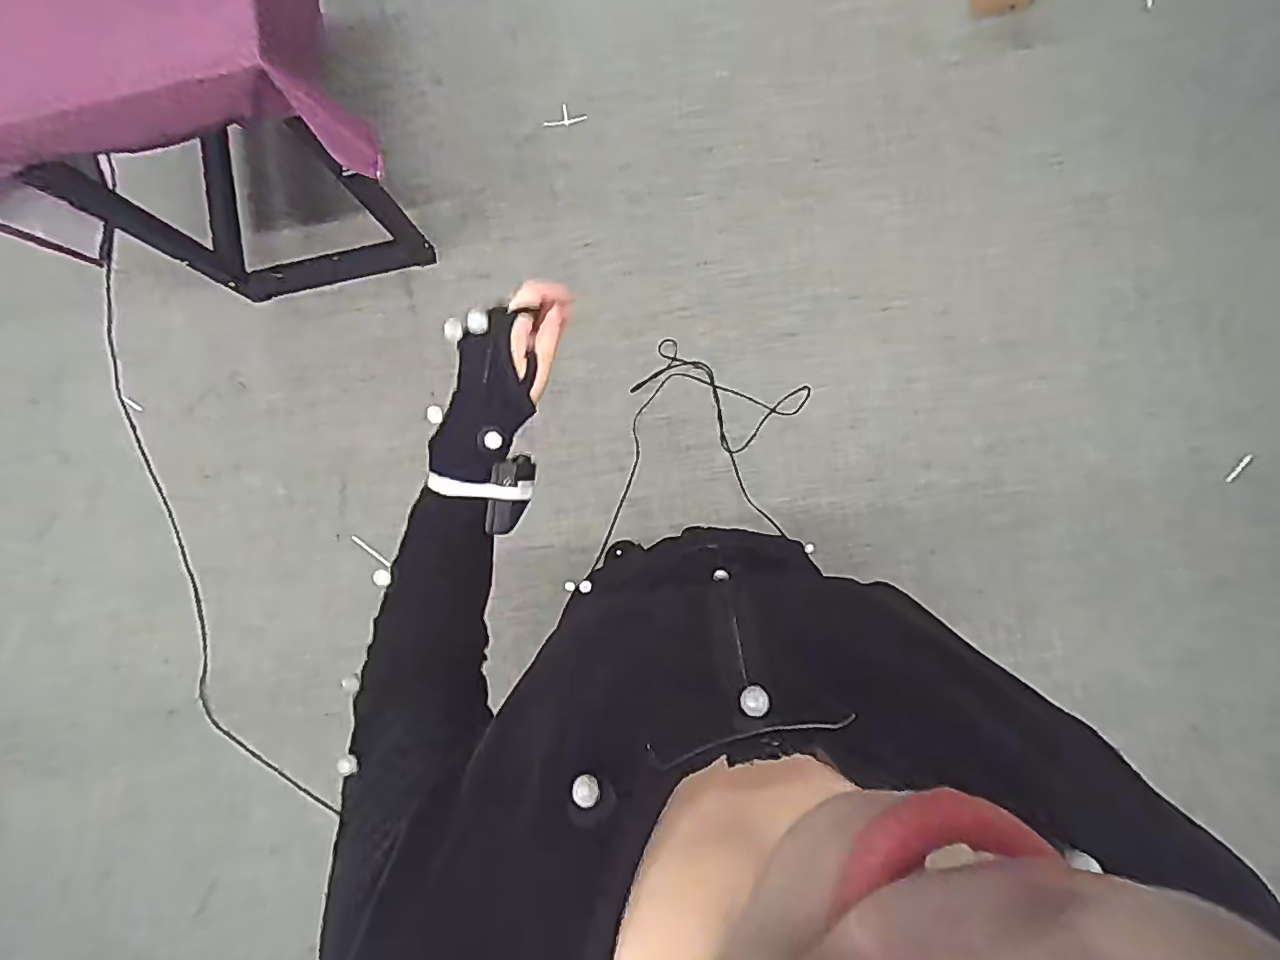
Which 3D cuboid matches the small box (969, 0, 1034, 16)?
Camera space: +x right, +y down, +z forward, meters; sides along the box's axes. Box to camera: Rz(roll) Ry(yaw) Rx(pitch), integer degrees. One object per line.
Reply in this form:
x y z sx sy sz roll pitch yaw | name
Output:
1.053 -1.462 1.528 0.168 0.176 0.179 -7 85 2 | small box
